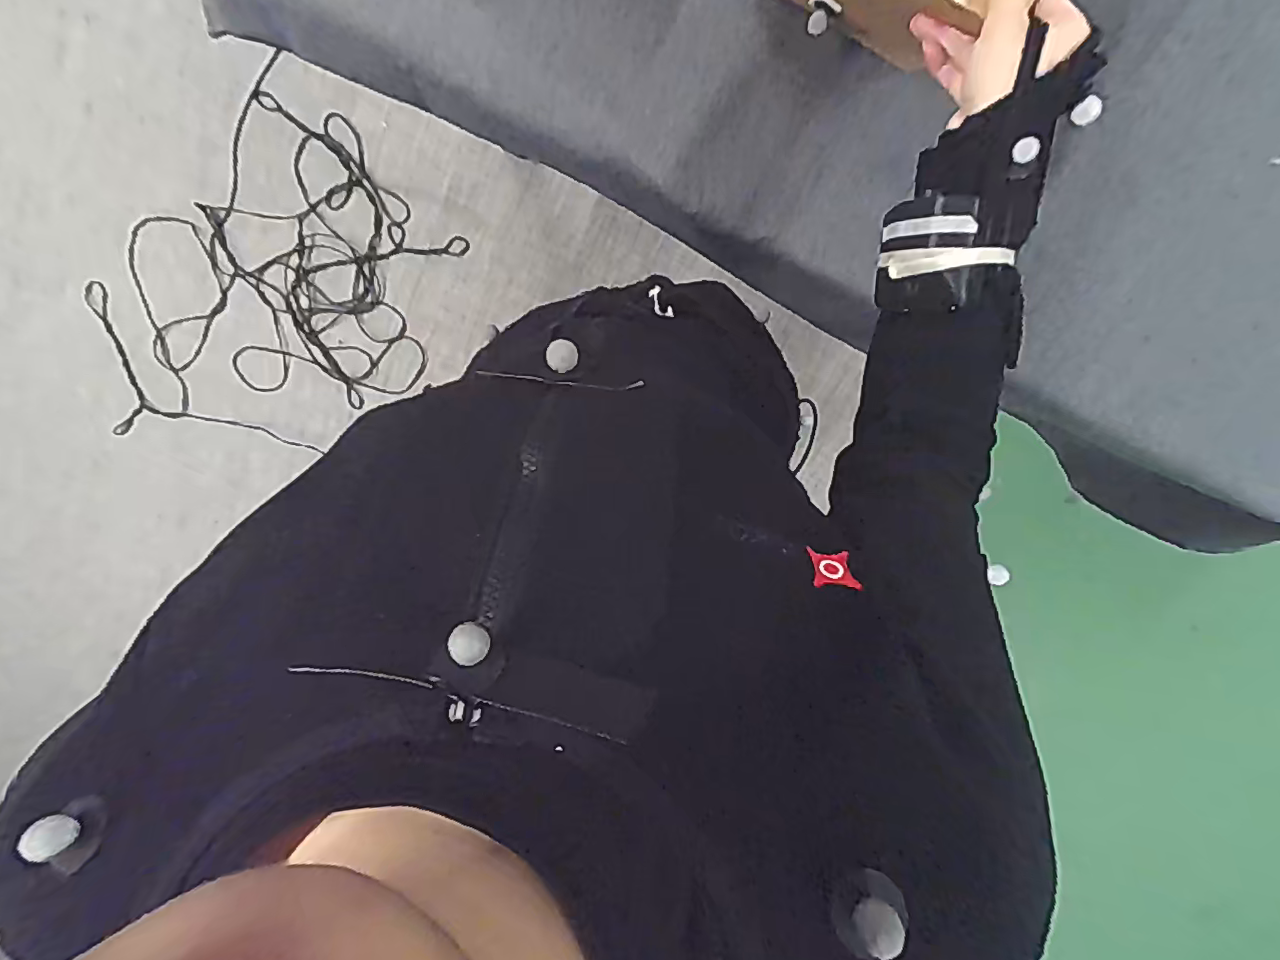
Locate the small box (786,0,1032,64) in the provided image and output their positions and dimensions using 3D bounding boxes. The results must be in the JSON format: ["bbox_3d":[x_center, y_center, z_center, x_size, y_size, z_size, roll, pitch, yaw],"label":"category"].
[{"bbox_3d":[0.188,-0.409,0.342,0.168,0.176,0.179,21,119,-9],"label":"small box"}]
